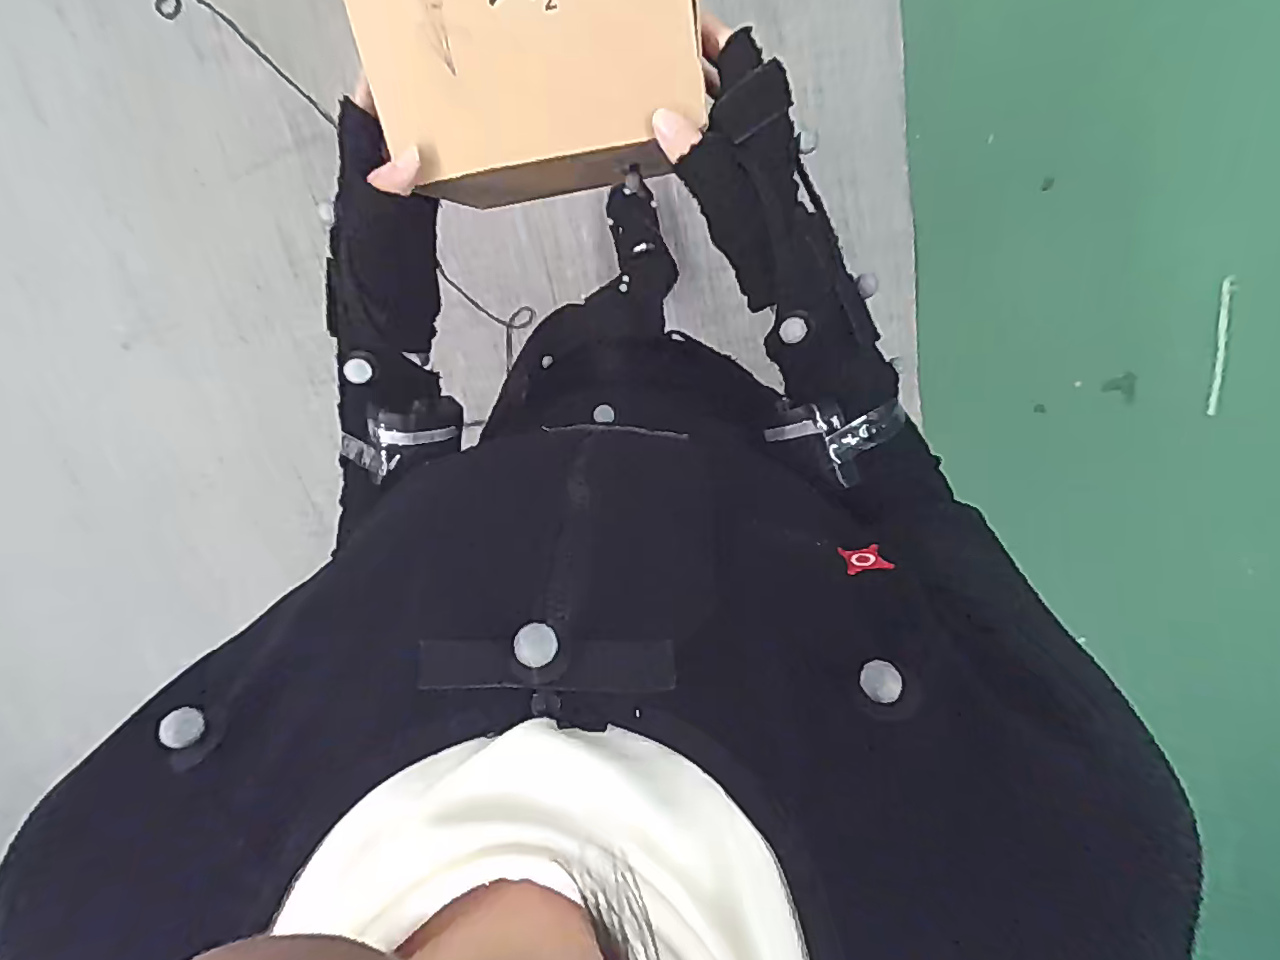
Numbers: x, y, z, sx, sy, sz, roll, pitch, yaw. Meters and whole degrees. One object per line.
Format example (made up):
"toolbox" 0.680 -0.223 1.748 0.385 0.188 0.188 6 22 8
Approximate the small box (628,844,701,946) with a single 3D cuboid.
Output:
"small box" 0.076 1.202 1.571 0.179 0.176 0.168 -14 107 9

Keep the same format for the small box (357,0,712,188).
"small box" -0.060 -0.296 0.338 0.179 0.176 0.168 -10 112 5
